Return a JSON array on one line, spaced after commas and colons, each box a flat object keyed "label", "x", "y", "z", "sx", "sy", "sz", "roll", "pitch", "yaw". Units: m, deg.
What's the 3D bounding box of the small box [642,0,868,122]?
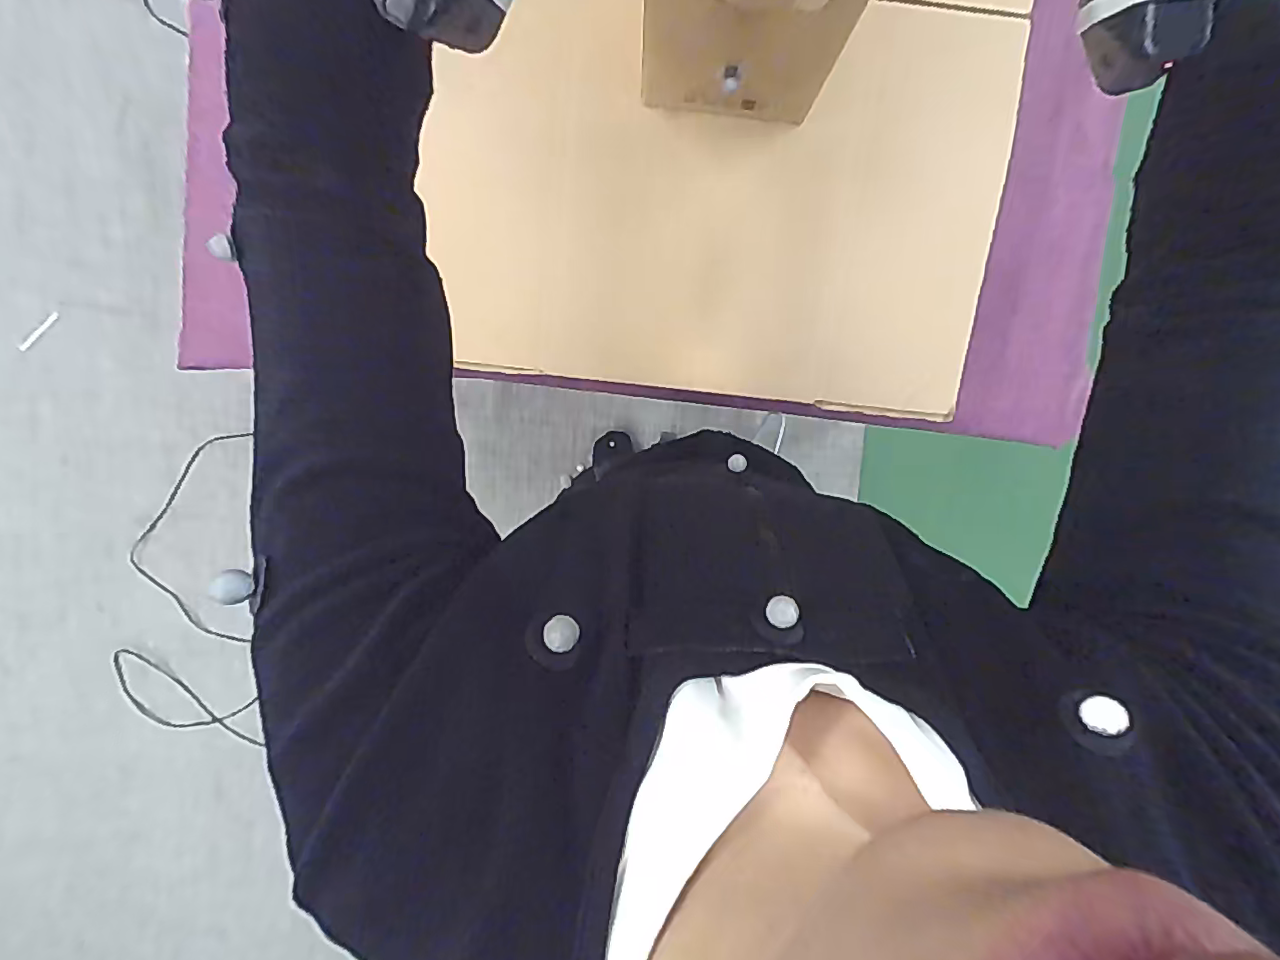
[{"label": "small box", "x": 0.093, "y": -0.445, "z": 0.449, "sx": 0.168, "sy": 0.176, "sz": 0.179, "roll": 6, "pitch": 93, "yaw": -2}]
